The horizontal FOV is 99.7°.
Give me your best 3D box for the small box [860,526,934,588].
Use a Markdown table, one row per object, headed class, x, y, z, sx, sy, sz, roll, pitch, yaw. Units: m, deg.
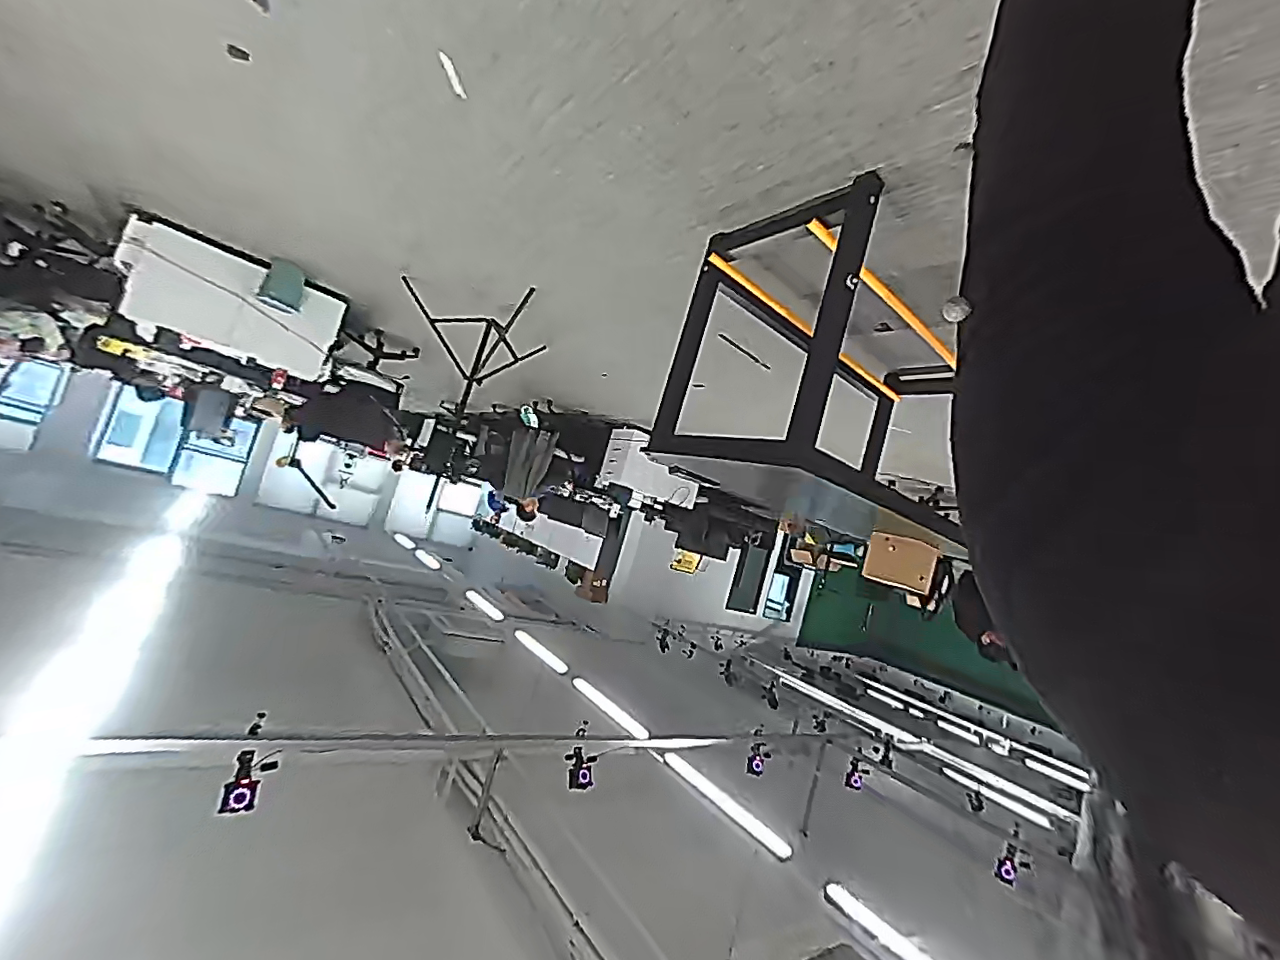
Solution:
| class | x | y | z | sx | sy | sz | roll | pitch | yaw |
| --- | --- | --- | --- | --- | --- | --- | --- | --- | --- |
| small box | 0.928 | 0.274 | 1.944 | 0.179 | 0.176 | 0.168 | 21 | 173 | -37 |
